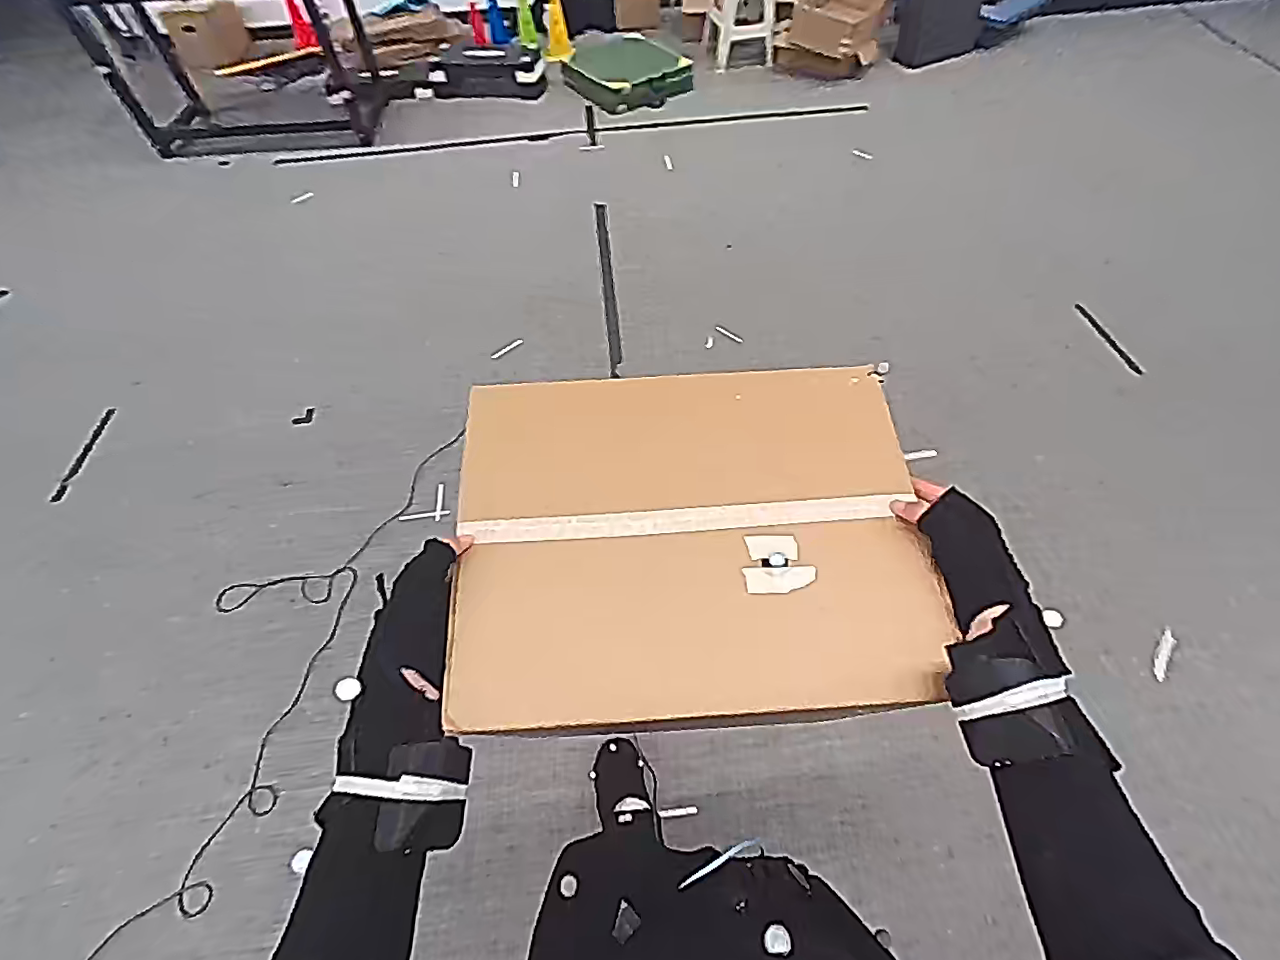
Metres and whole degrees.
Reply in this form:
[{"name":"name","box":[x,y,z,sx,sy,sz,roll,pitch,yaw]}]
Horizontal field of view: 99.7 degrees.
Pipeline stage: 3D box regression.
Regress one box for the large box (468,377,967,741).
[{"name":"large box","box":[0.050,0.109,0.617,0.408,0.320,0.320,-3,65,-2]}]
